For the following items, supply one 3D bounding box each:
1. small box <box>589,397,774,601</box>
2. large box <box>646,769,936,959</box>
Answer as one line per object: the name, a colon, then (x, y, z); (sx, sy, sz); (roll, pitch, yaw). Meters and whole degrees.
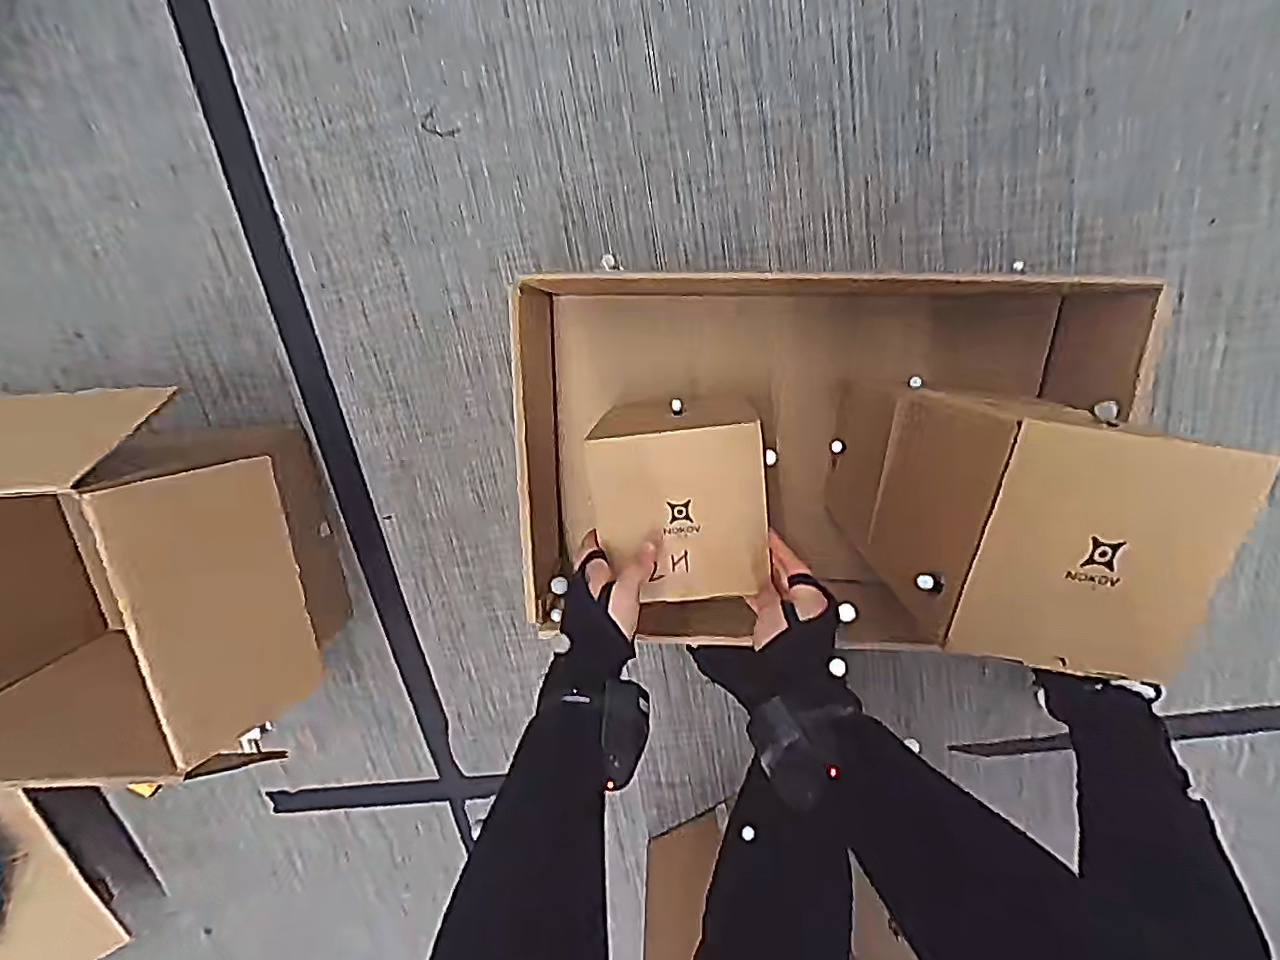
small box: (0.046, 0.009, 0.588); (0.168, 0.176, 0.179); (-6, 107, 6)
large box: (0.245, 0.737, 0.803); (0.320, 0.320, 0.408); (-35, 103, 12)
